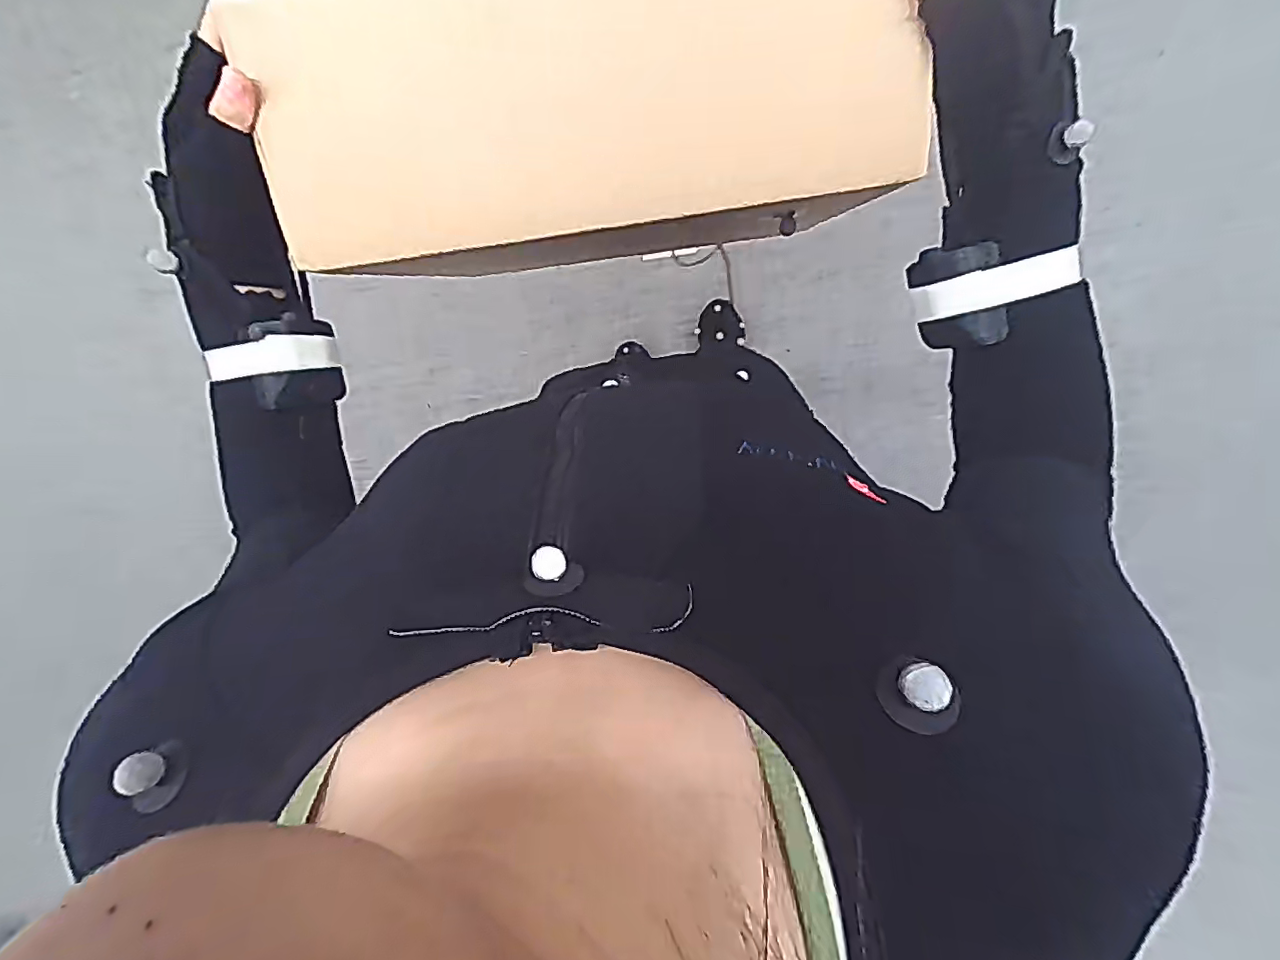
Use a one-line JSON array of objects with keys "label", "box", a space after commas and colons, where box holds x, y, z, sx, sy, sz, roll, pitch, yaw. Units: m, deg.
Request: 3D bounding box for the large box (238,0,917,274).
[{"label": "large box", "box": [-0.036, -0.361, 0.445, 0.408, 0.320, 0.320, -6, 109, 6]}]
